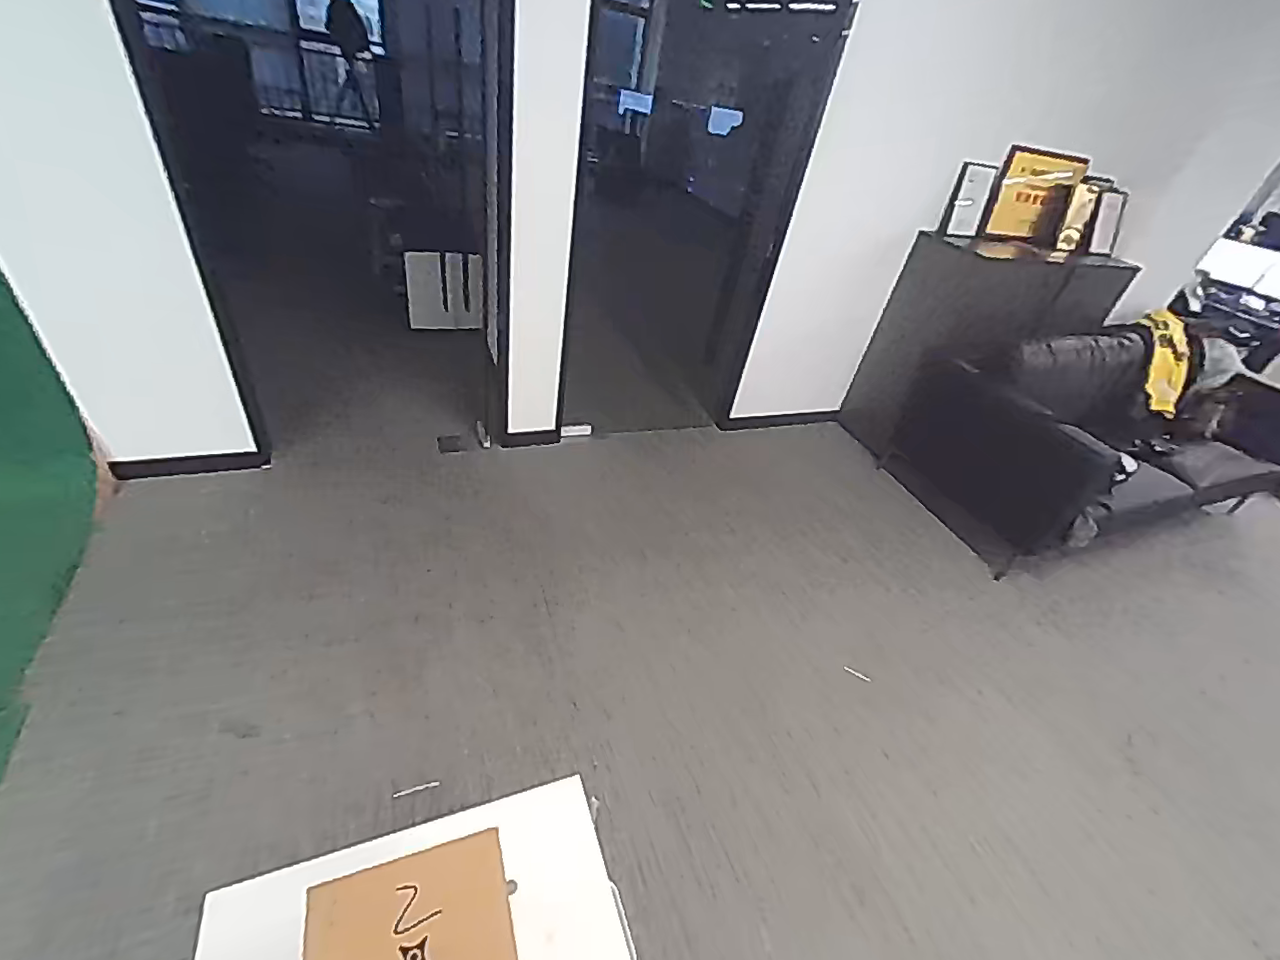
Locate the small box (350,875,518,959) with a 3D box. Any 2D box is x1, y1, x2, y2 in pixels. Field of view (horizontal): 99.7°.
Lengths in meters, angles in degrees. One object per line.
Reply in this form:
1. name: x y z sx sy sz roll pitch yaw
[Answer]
1. small box: -0.218 0.587 0.592 0.168 0.176 0.179 -6 40 -22
